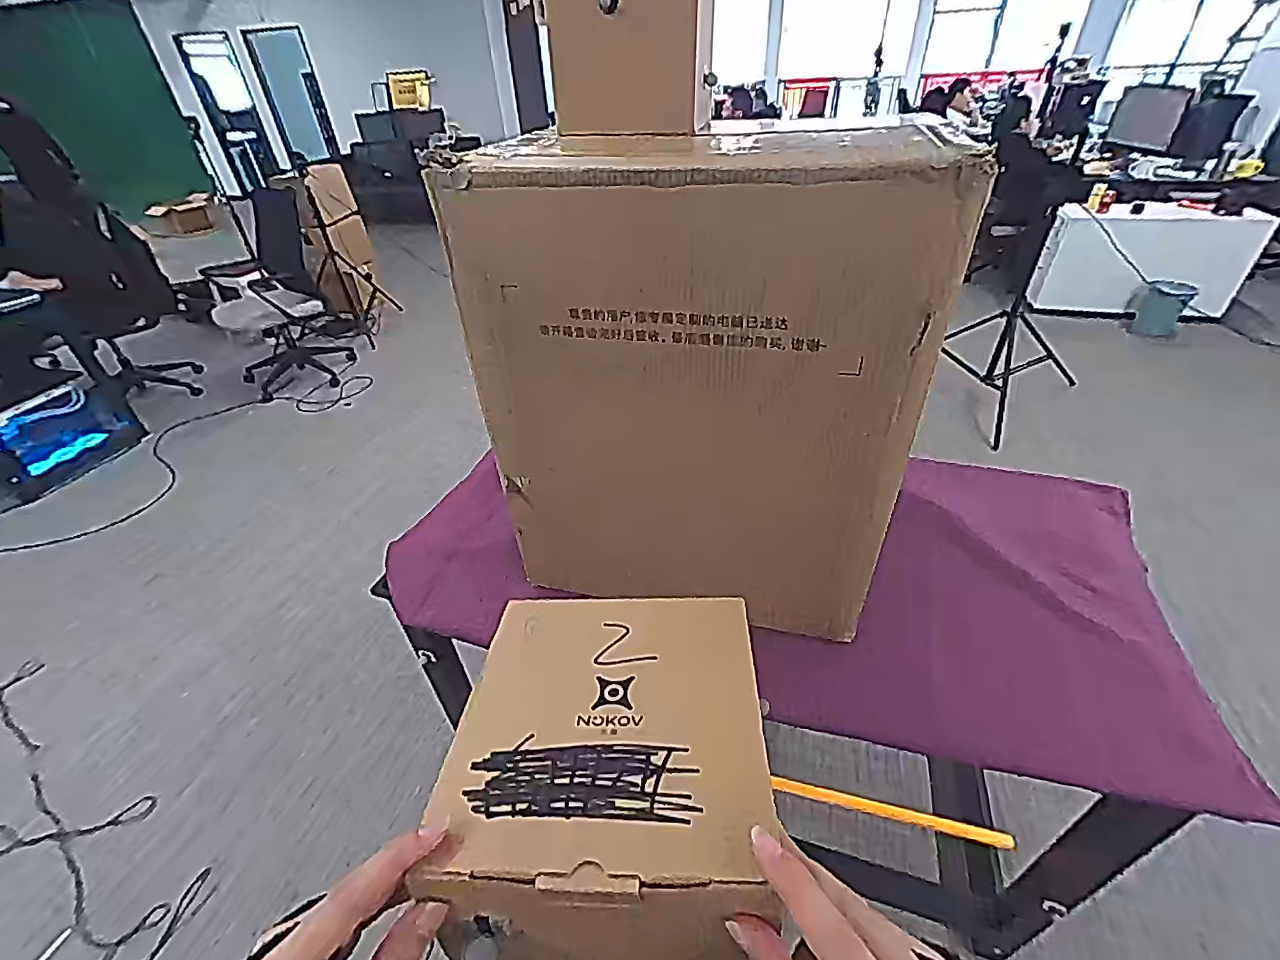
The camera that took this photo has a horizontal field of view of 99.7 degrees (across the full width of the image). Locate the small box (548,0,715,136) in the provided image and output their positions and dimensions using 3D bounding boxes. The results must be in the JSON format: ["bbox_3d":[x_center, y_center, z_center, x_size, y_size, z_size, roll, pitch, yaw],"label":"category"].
[{"bbox_3d":[-0.006,-0.532,0.672,0.179,0.176,0.168,7,39,11],"label":"small box"}]
